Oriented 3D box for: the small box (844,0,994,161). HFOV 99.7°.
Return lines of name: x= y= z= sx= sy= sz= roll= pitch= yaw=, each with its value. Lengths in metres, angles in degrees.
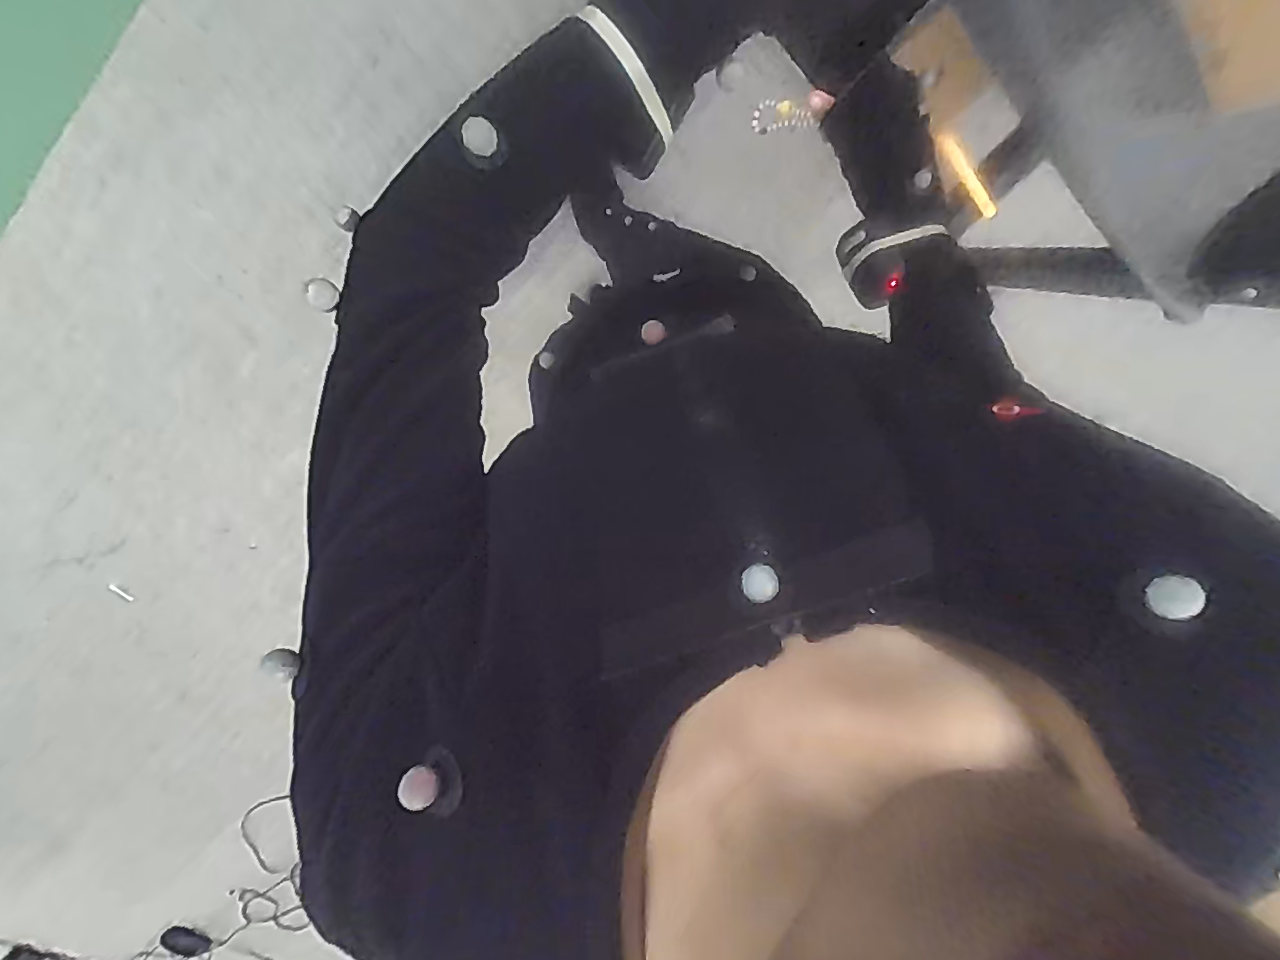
small box: x=0.524 y=-0.755 z=1.048 sx=0.179 sy=0.176 sz=0.168 roll=-40 pitch=111 yaw=12
